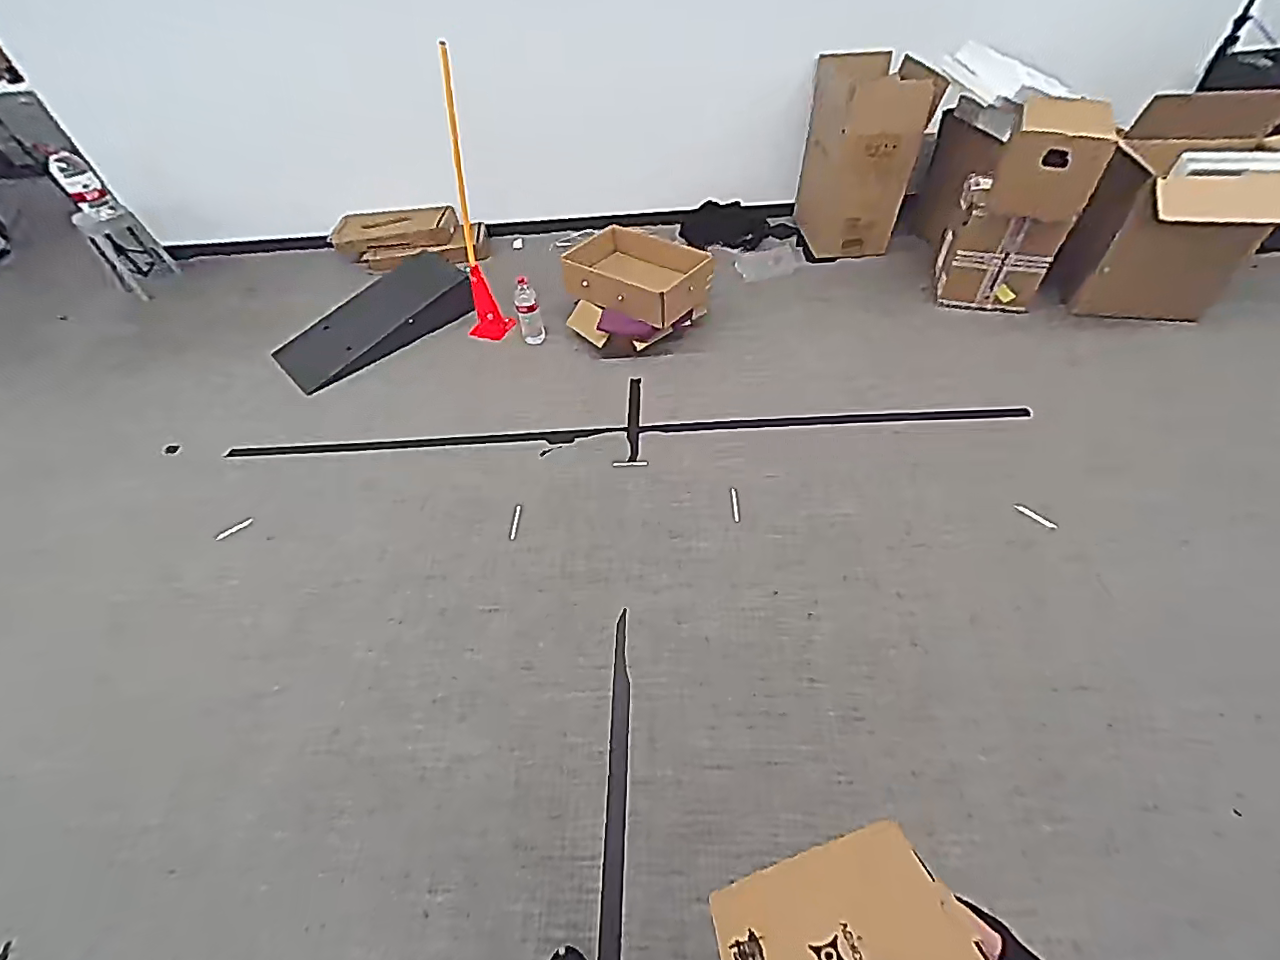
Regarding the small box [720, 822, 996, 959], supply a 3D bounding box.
[{"bbox_3d":[0.181,0.416,0.407,0.179,0.176,0.168,-22,8,1],"label":"small box"}]
